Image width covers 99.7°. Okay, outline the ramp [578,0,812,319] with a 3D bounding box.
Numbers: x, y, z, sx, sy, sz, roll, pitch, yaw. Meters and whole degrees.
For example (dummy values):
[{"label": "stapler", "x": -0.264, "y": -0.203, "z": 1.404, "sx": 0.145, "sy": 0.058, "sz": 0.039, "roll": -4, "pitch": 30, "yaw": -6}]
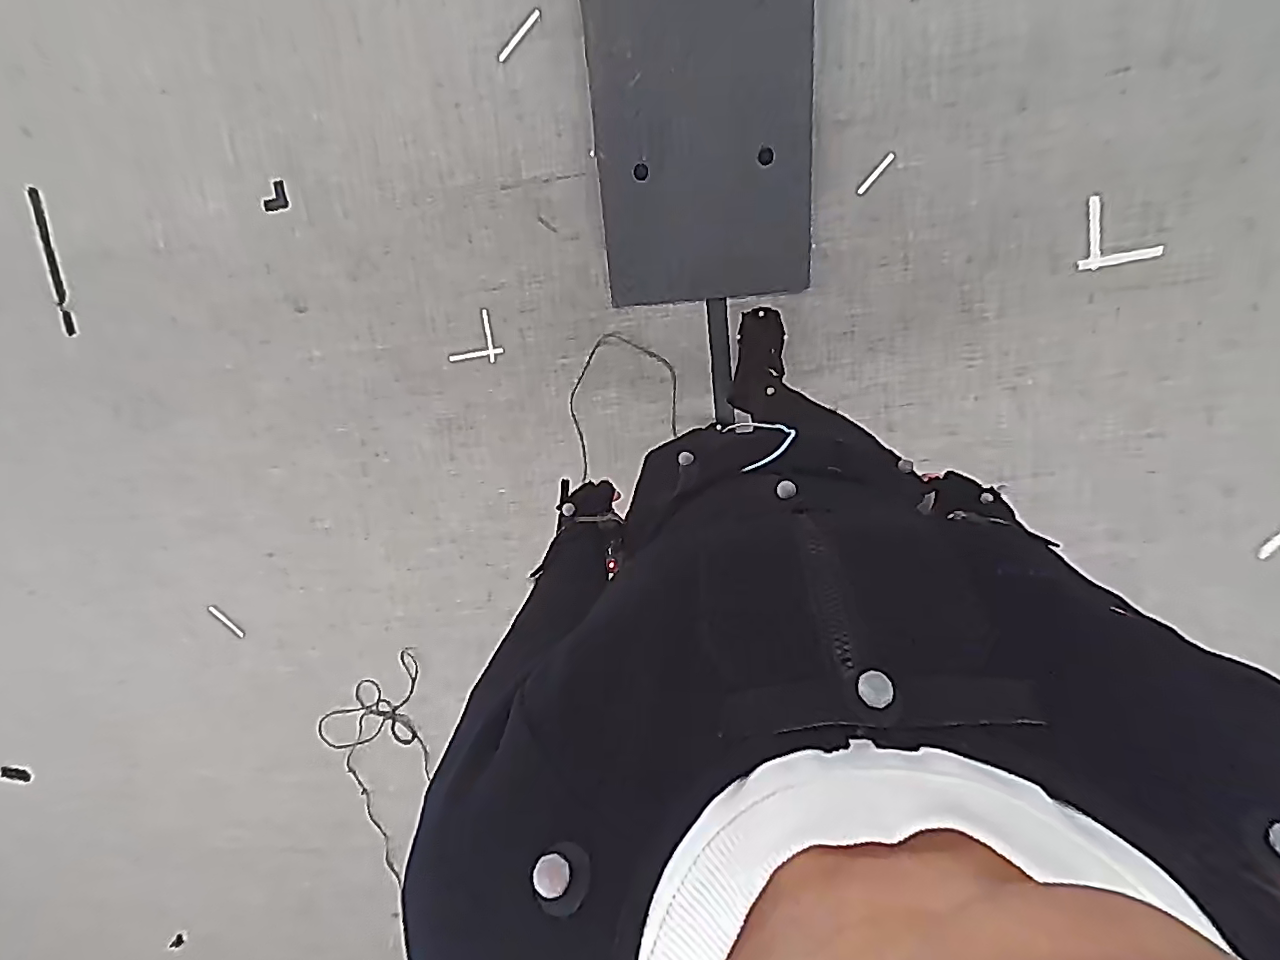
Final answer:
[{"label": "ramp", "x": 0.127, "y": -0.900, "z": 1.206, "sx": 0.509, "sy": 0.206, "sz": 0.991, "roll": -6, "pitch": 100, "yaw": 7}]
